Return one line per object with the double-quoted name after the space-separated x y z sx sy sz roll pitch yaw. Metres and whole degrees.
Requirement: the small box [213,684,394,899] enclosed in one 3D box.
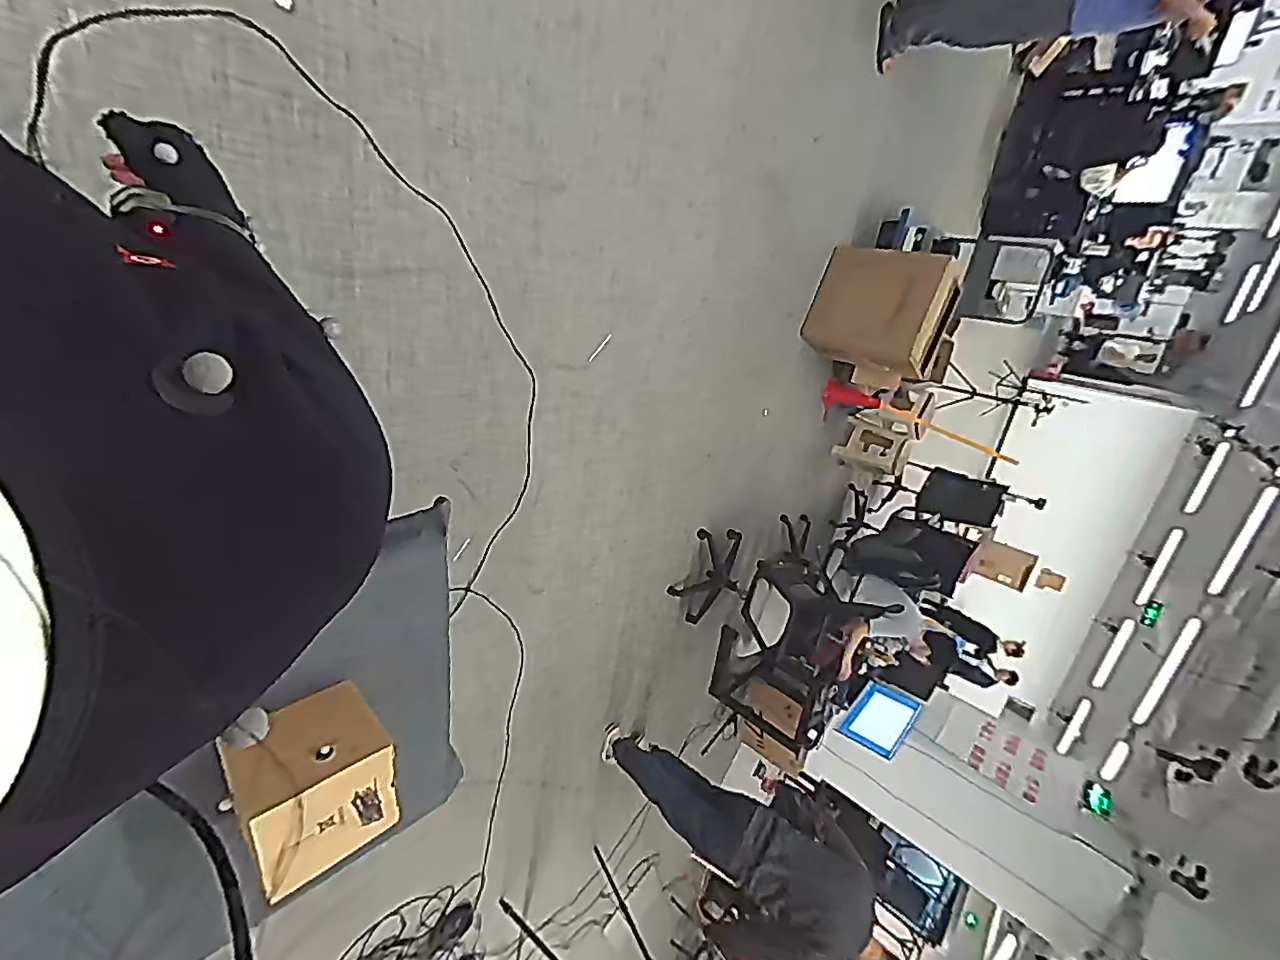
-0.487 0.438 0.793 0.179 0.176 0.168 -17 122 -44 "small box"
